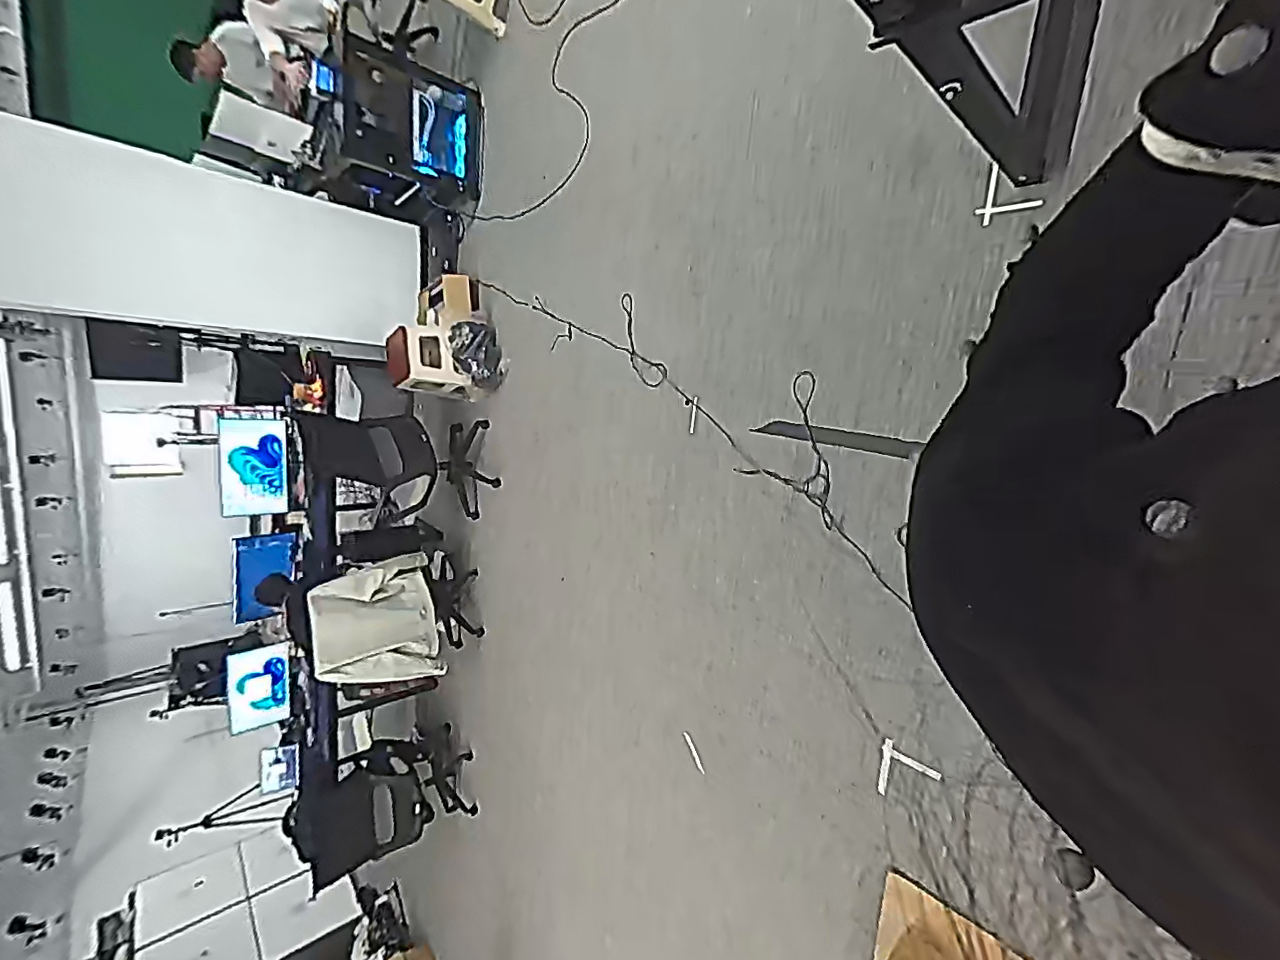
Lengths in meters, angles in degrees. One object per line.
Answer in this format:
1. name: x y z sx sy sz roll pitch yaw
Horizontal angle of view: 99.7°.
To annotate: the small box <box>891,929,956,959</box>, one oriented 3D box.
1. small box: 0.753 1.350 1.418 0.168 0.176 0.179 9 100 47
